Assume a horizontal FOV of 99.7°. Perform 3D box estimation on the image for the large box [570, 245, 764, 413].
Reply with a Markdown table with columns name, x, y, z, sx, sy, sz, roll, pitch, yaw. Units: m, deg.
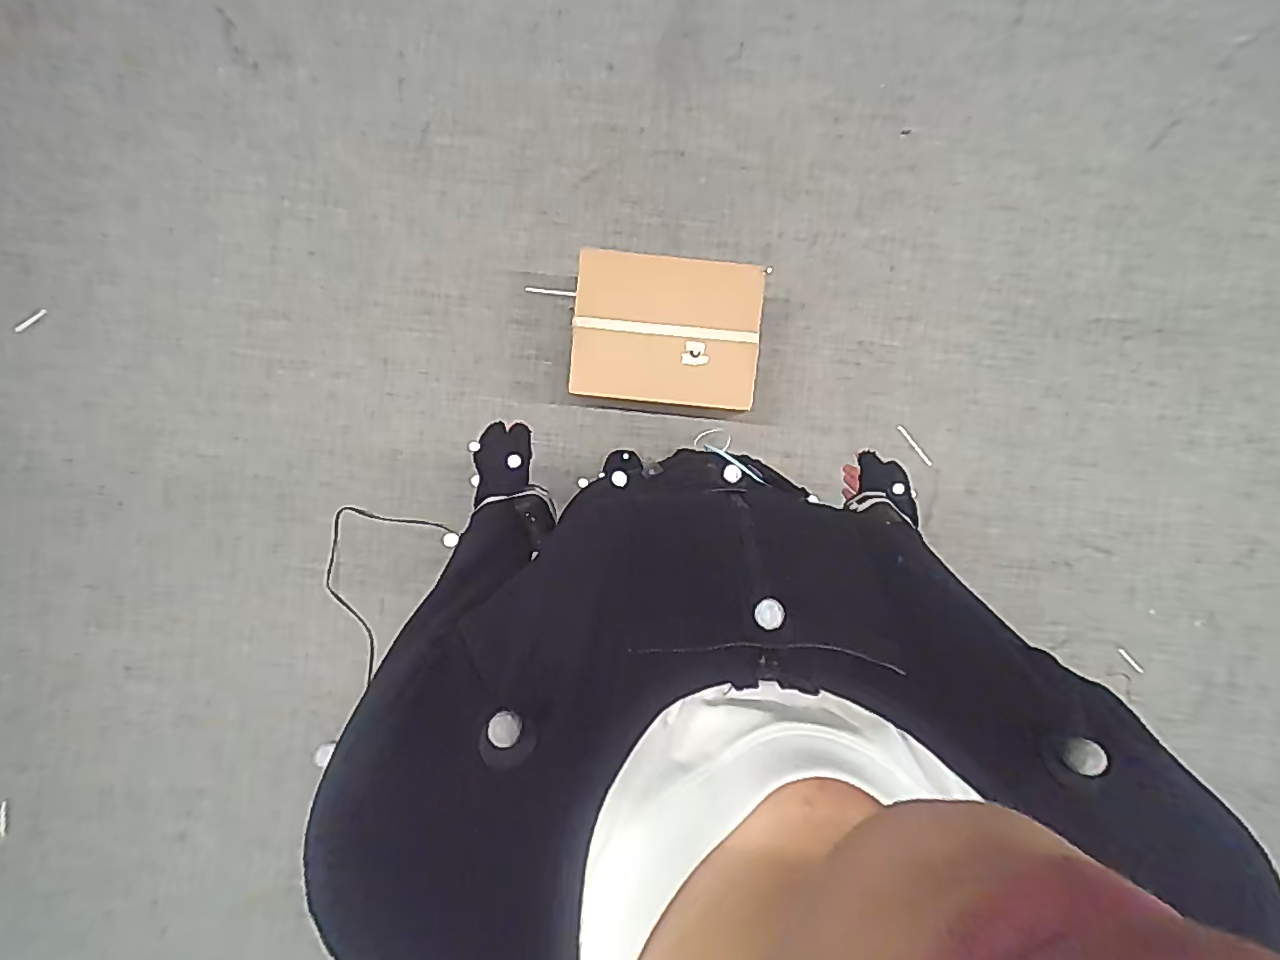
| name | x | y | z | sx | sy | sz | roll | pitch | yaw |
| --- | --- | --- | --- | --- | --- | --- | --- | --- | --- |
| large box | 0.054 | -0.342 | 1.313 | 0.408 | 0.320 | 0.320 | 6 | 94 | -1 |
